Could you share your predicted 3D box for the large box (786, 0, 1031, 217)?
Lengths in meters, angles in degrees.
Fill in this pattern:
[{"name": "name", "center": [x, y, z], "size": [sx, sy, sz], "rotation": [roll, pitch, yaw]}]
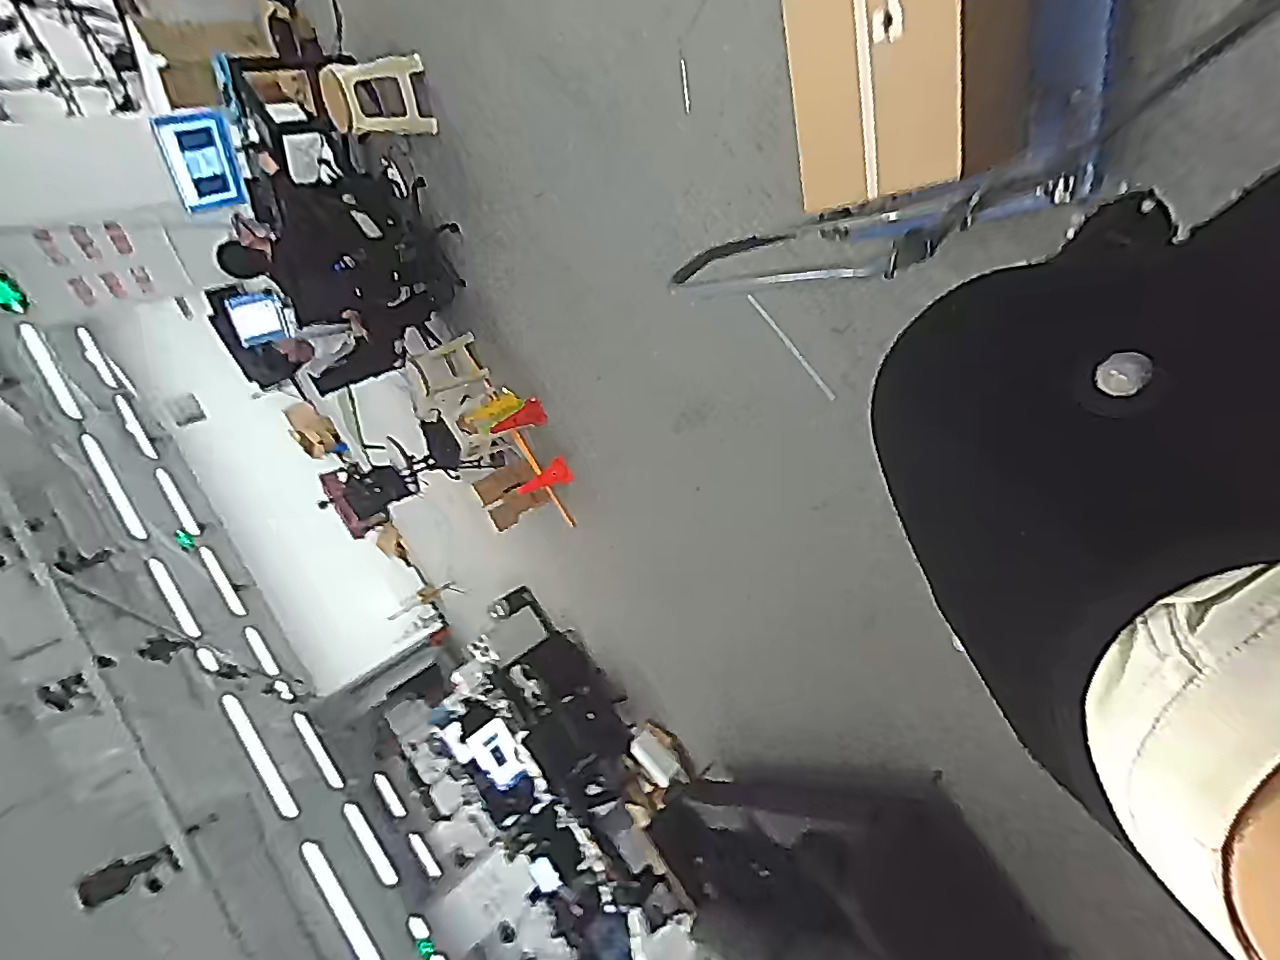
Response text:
[{"name": "large box", "center": [0.524, -0.776, 1.046], "size": [0.320, 0.320, 0.408], "rotation": [14, 125, 49]}]
